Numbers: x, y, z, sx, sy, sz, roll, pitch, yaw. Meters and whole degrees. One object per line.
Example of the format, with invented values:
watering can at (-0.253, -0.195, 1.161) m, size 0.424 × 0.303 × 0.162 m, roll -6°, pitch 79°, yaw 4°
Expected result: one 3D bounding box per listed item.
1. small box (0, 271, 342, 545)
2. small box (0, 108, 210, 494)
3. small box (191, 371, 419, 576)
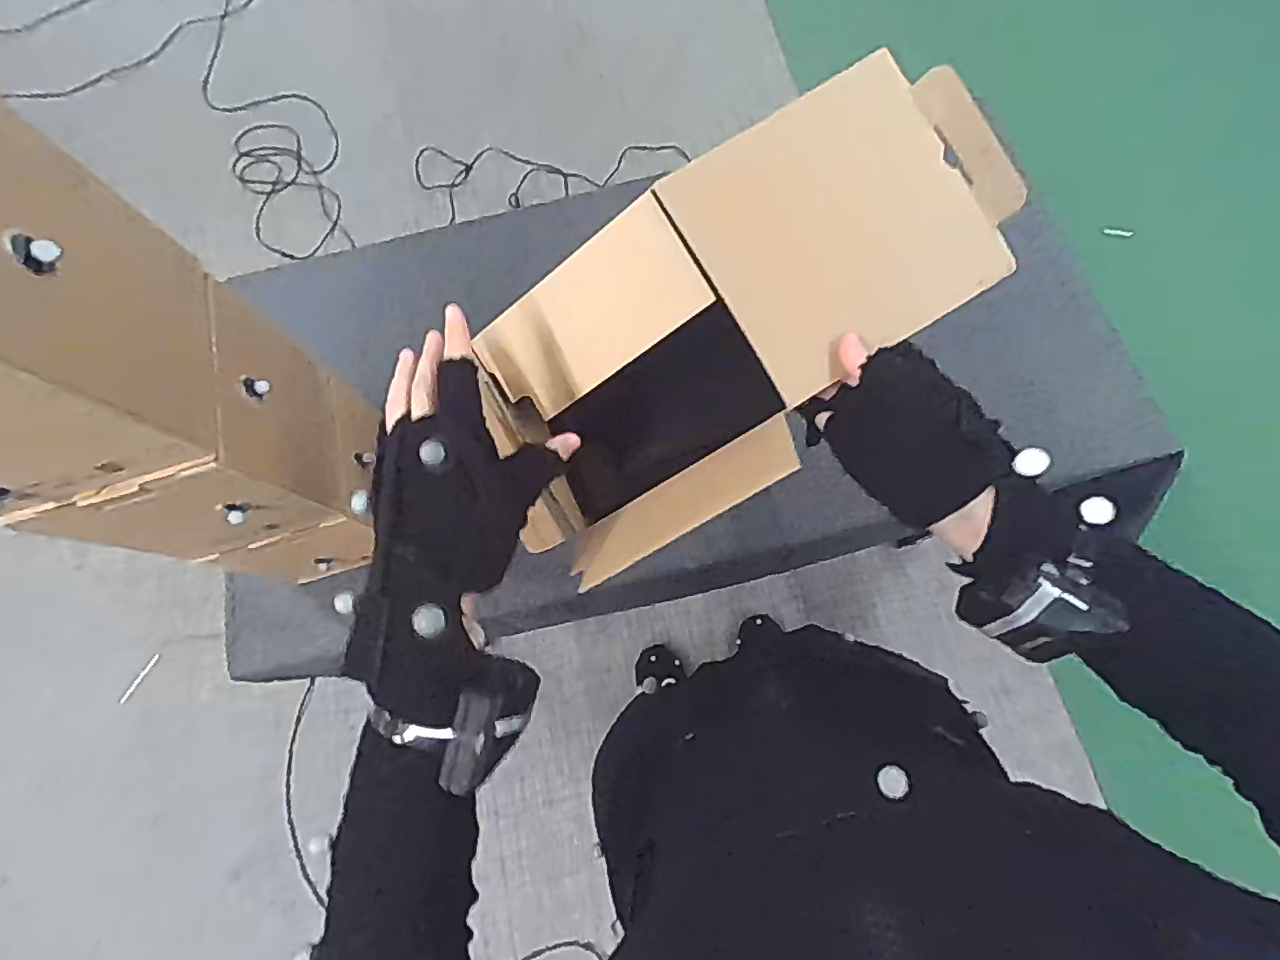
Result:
small box at (-0.398, -0.047, 0.489) m, size 0.168 × 0.176 × 0.179 m, roll -16°, pitch 73°, yaw -2°
small box at (-0.410, -0.102, 0.335) m, size 0.168 × 0.176 × 0.179 m, roll -17°, pitch 73°, yaw -3°
small box at (-0.387, 0.002, 0.644) m, size 0.168 × 0.176 × 0.179 m, roll -16°, pitch 73°, yaw -1°
